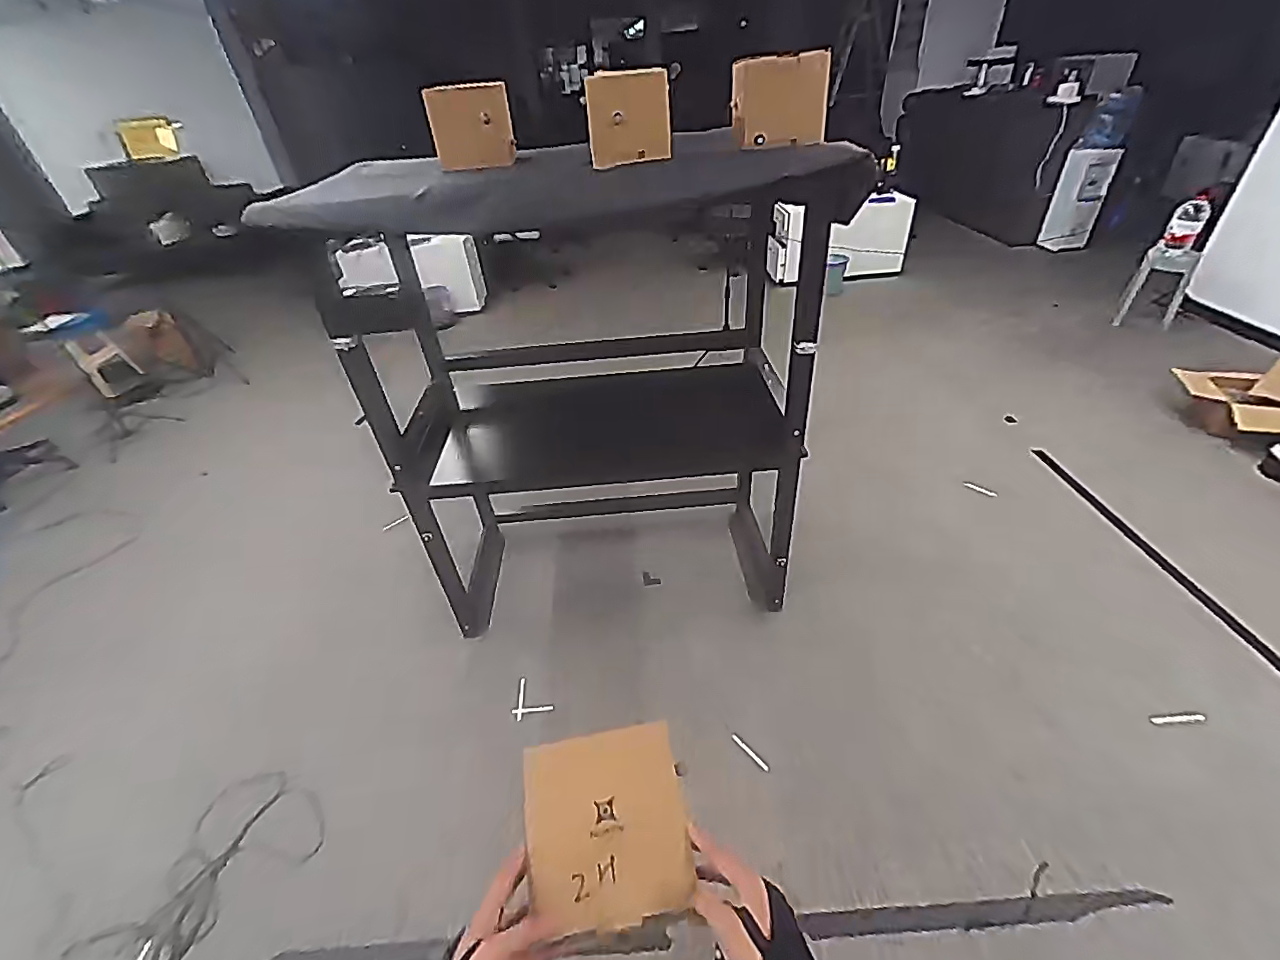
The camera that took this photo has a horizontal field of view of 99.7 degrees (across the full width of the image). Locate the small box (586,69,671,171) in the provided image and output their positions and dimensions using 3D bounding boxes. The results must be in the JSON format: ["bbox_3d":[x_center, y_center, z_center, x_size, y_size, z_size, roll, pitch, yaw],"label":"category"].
[{"bbox_3d":[-0.022,-0.782,1.181,0.168,0.176,0.179,-5,35,0],"label":"small box"}]

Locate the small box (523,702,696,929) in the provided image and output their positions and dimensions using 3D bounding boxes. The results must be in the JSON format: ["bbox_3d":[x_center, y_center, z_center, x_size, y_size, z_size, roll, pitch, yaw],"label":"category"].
[{"bbox_3d":[-0.039,0.386,0.622,0.168,0.176,0.179,-9,48,-6],"label":"small box"}]

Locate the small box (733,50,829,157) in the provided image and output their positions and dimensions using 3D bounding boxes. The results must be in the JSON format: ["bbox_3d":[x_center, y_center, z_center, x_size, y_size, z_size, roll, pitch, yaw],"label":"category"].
[{"bbox_3d":[0.293,-0.796,1.156,0.168,0.176,0.179,-4,34,2],"label":"small box"}]
